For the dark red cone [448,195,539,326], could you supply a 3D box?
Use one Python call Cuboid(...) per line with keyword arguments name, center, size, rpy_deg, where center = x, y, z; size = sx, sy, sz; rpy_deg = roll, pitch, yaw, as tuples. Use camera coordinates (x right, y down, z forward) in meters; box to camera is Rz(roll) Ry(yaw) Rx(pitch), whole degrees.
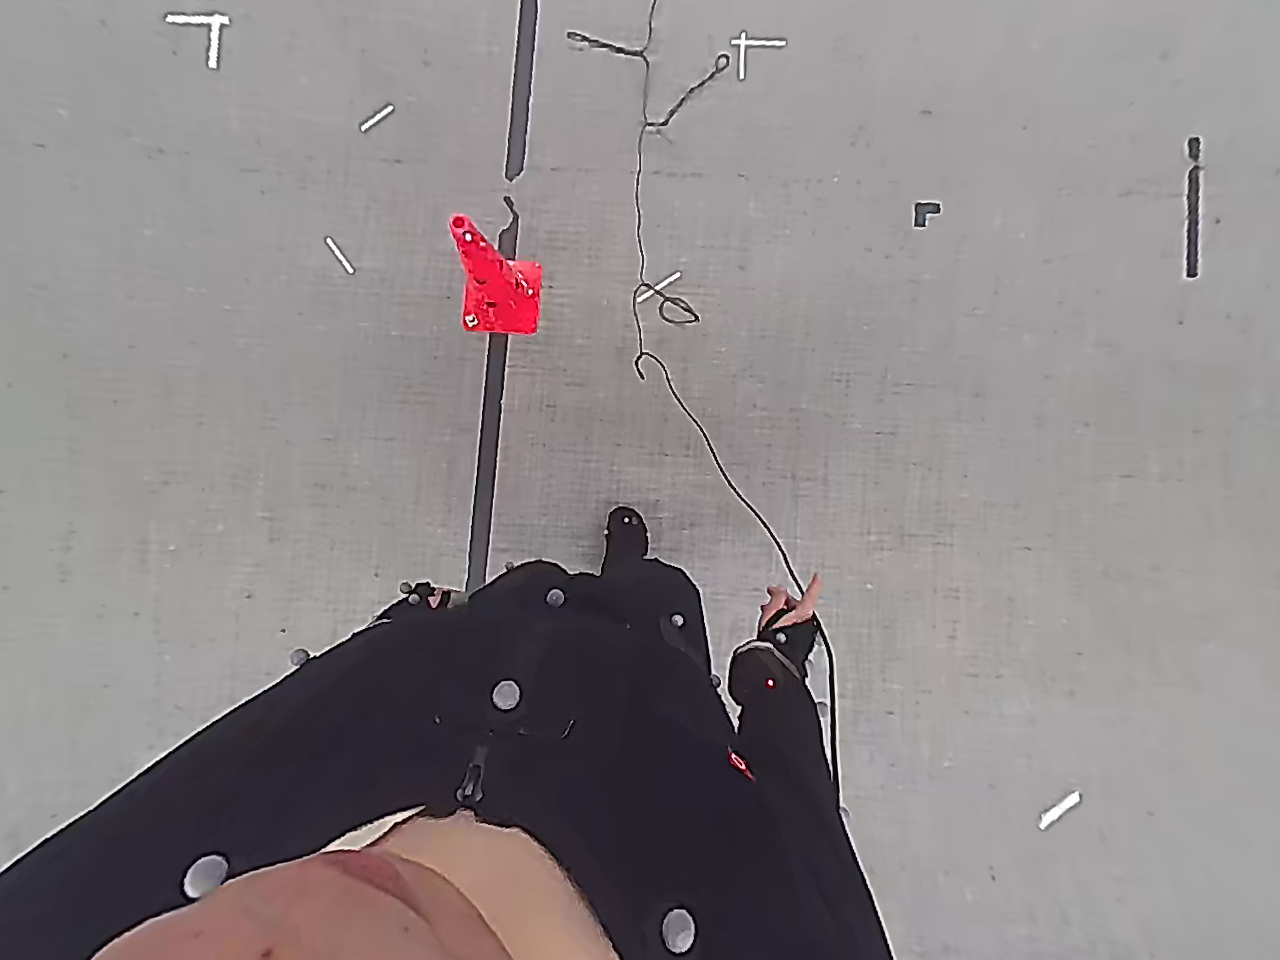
Cuboid(name="dark red cone", center=(-0.361, -0.514, 1.236), size=(0.201, 0.394, 0.202), rpy_deg=(3, 85, -1))
